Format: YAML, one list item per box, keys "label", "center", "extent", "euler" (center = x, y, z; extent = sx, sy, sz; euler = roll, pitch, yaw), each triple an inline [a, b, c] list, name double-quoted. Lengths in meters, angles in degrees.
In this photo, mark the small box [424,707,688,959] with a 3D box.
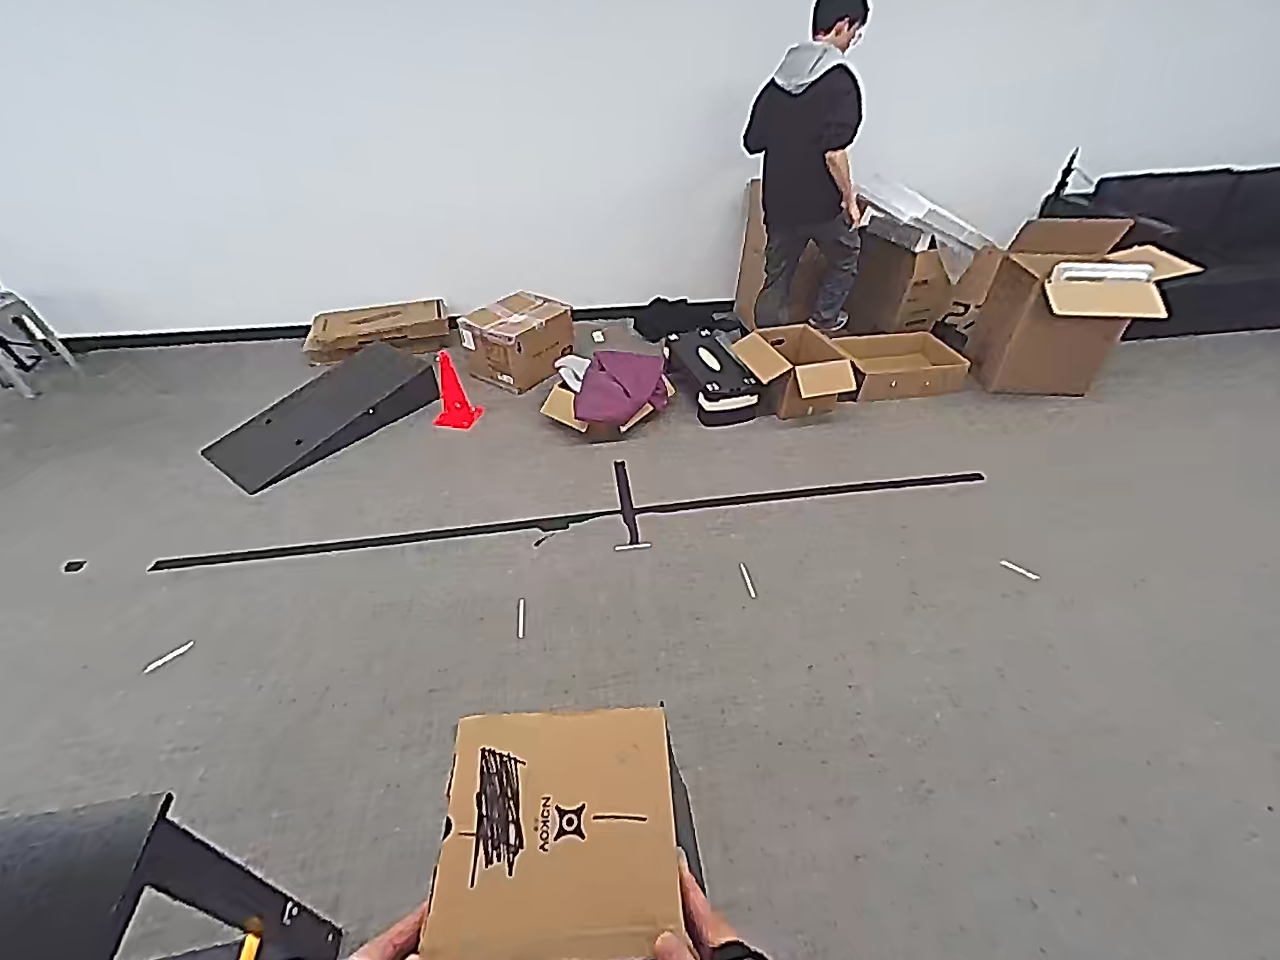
- label: "small box"
  center: [-0.060, 0.313, 0.462]
  extent: [0.179, 0.176, 0.168]
  euler: [-1, 45, -4]
